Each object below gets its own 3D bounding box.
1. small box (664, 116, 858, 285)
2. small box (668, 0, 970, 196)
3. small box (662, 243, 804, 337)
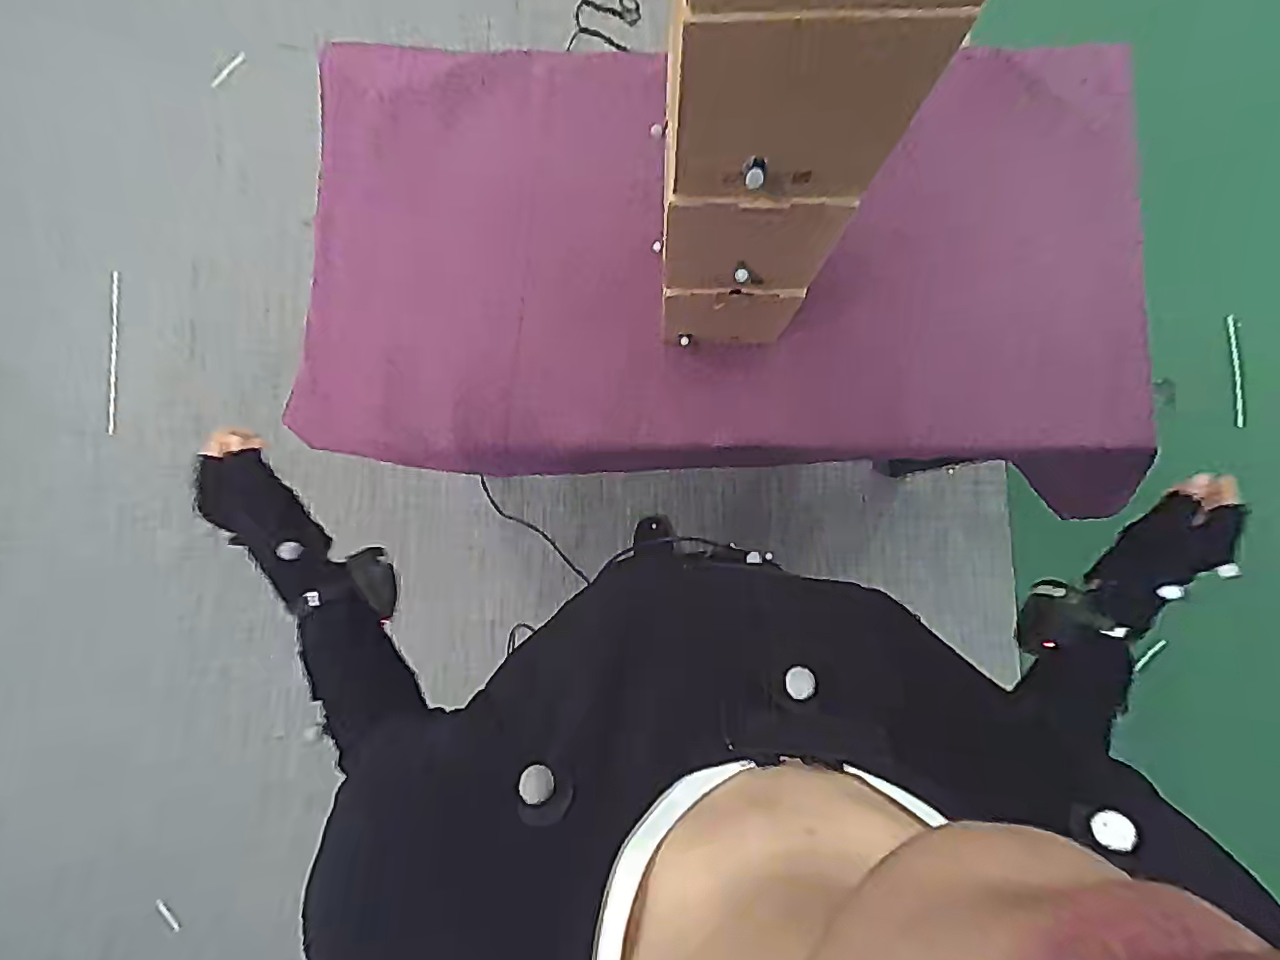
[{"bbox_3d":[0.110,-0.320,0.552,0.168,0.176,0.179,1,85,2],"label":"small box"},{"bbox_3d":[0.106,-0.339,0.390,0.168,0.176,0.179,1,85,2],"label":"small box"},{"bbox_3d":[0.115,-0.298,0.714,0.168,0.176,0.179,1,85,1],"label":"small box"}]
